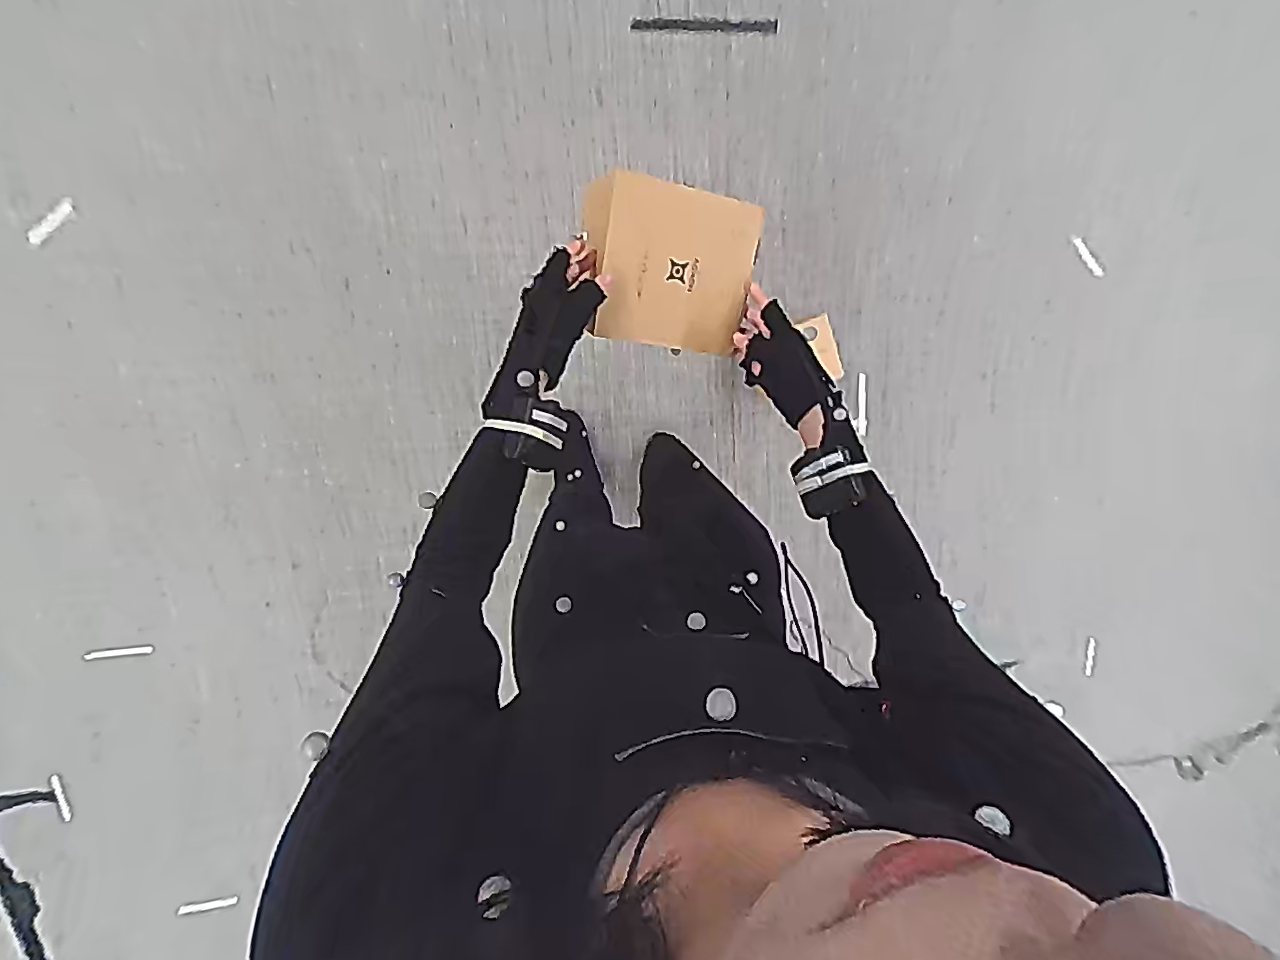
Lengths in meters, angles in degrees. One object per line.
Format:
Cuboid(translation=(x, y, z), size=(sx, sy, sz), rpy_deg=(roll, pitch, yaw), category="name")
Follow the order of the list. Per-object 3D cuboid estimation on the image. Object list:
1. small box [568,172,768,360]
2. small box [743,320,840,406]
Cuboid(translation=(0.021, -0.252, 0.655), size=(0.179, 0.176, 0.168), rpy_deg=(4, 110, -20), category="small box")
Cuboid(translation=(0.386, -0.303, 1.418), size=(0.179, 0.176, 0.168), rpy_deg=(-23, 104, -5), category="small box")
